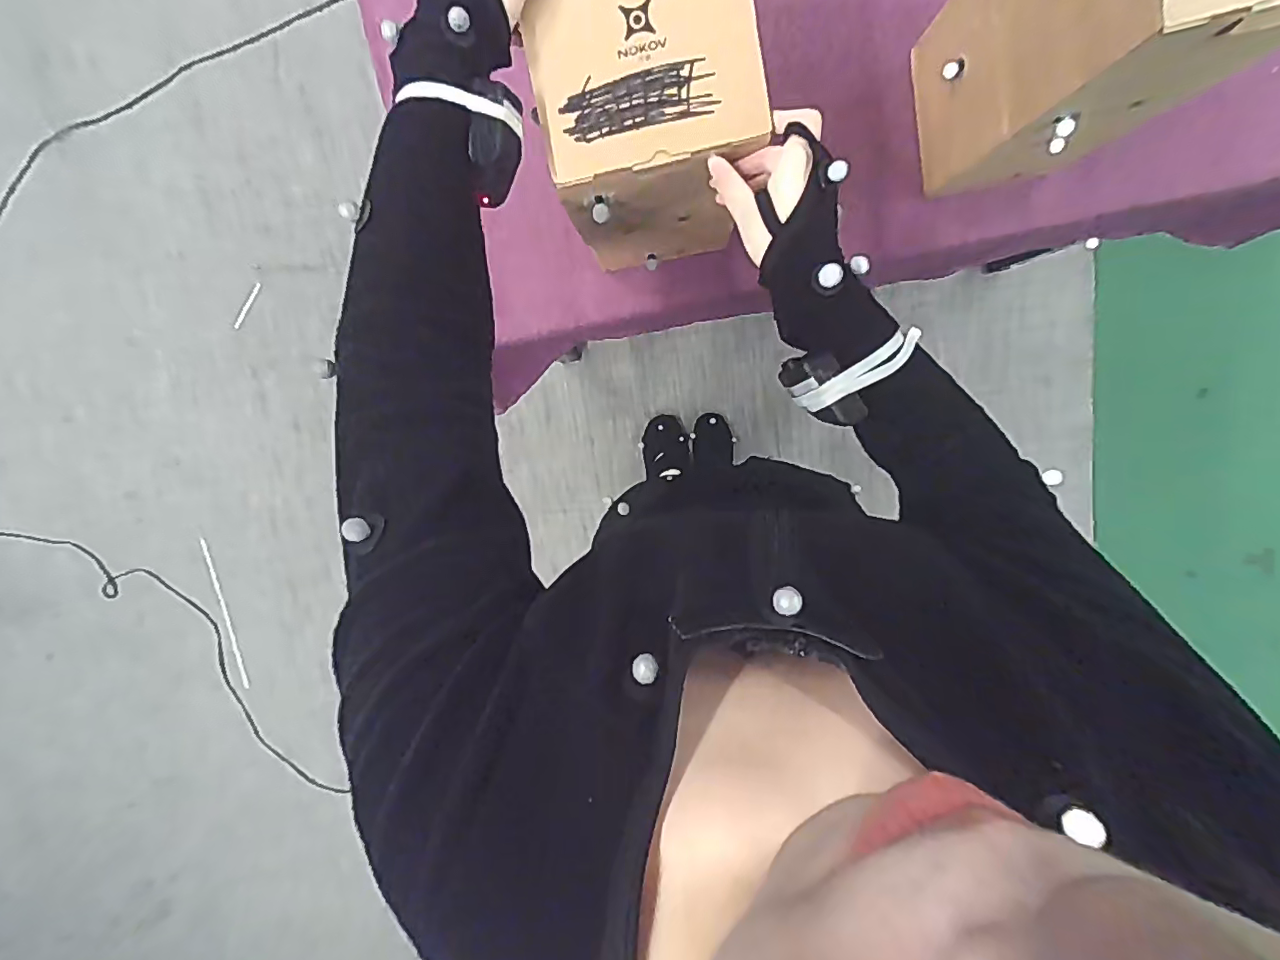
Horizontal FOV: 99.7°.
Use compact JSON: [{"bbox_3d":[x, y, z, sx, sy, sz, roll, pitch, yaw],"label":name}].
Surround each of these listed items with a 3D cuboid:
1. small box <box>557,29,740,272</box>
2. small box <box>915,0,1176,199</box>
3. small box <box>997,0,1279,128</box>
[{"bbox_3d":[0.013,-0.361,0.628,0.168,0.176,0.179,-10,100,5],"label":"small box"},{"bbox_3d":[0.424,-0.441,0.592,0.168,0.176,0.179,-10,98,6],"label":"small box"},{"bbox_3d":[0.417,-0.414,0.430,0.168,0.176,0.179,-11,99,4],"label":"small box"}]
